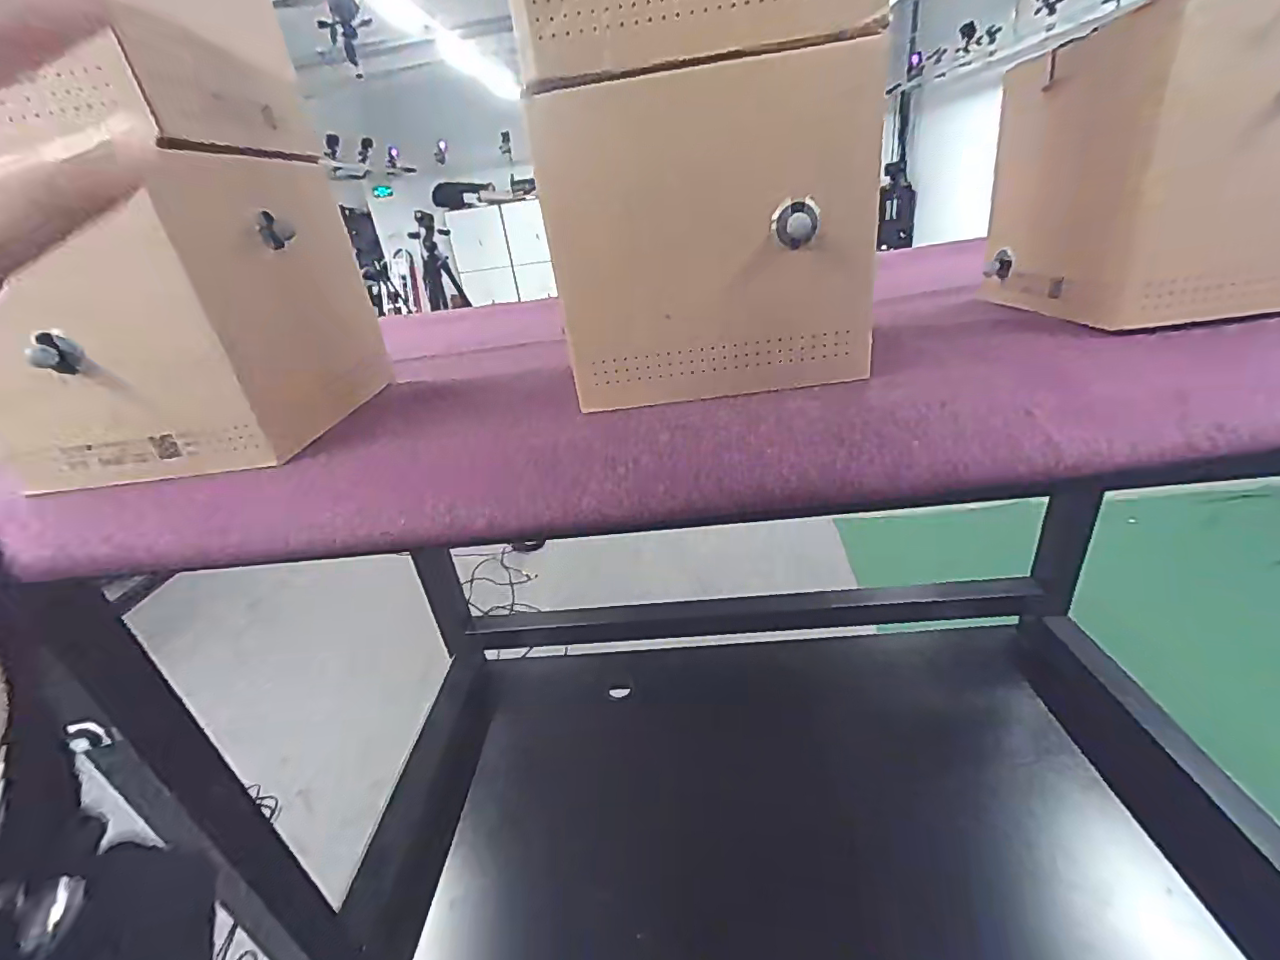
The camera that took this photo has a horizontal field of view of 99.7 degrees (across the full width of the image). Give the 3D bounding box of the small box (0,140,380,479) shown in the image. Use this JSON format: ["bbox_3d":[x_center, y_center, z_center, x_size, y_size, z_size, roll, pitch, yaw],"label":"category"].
[{"bbox_3d":[-0.303,-0.109,0.356,0.168,0.176,0.179,-6,28,3],"label":"small box"}]

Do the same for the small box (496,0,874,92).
[{"bbox_3d":[0.012,-0.300,0.284,0.179,0.176,0.168,-7,27,3],"label":"small box"}]

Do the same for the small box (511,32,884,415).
[{"bbox_3d":[0.037,-0.155,0.355,0.179,0.176,0.168,-8,27,4],"label":"small box"}]

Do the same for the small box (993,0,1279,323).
[{"bbox_3d":[0.356,-0.203,0.346,0.179,0.176,0.168,-5,25,7],"label":"small box"}]
